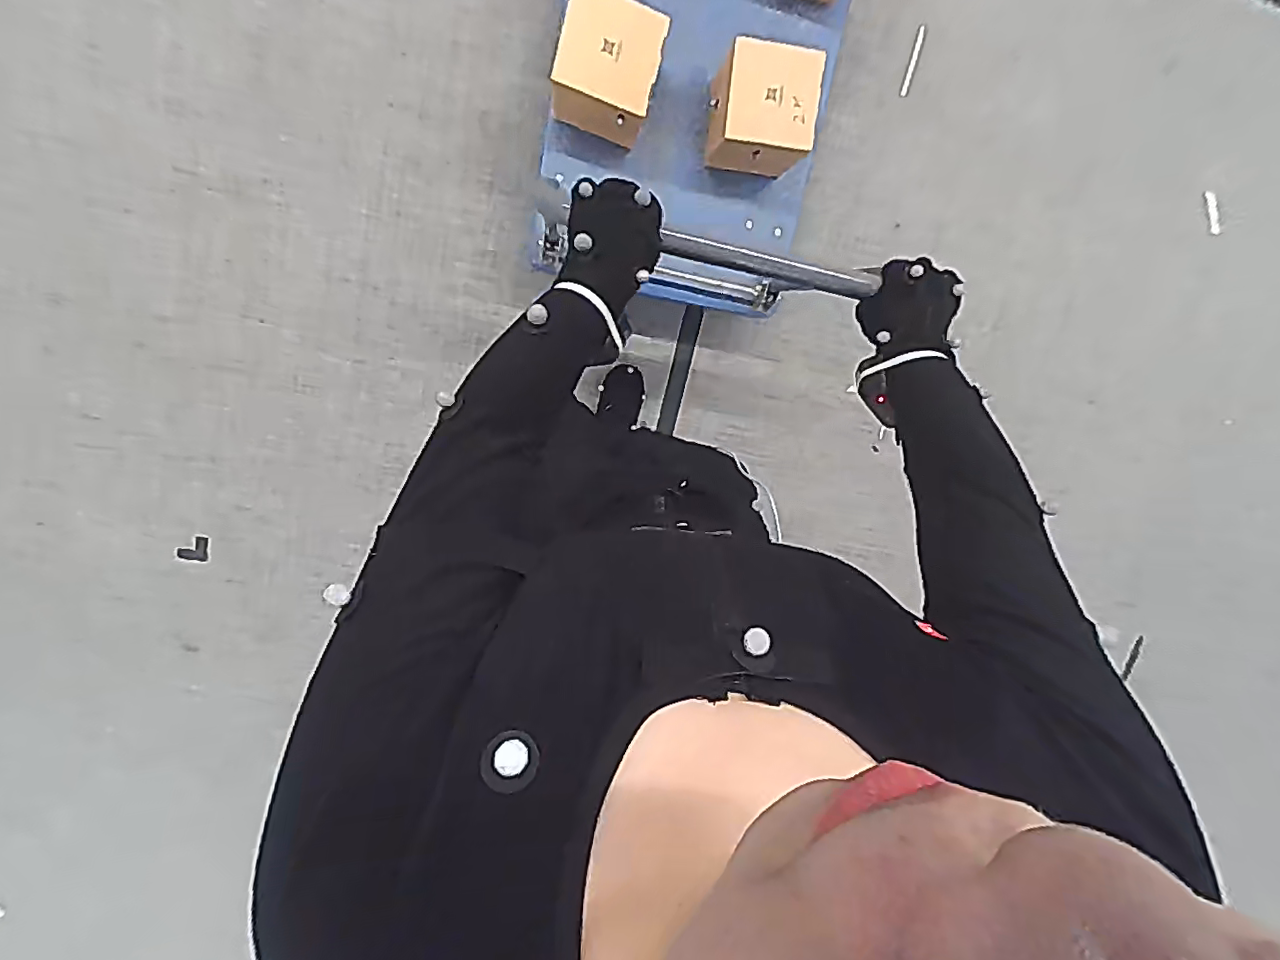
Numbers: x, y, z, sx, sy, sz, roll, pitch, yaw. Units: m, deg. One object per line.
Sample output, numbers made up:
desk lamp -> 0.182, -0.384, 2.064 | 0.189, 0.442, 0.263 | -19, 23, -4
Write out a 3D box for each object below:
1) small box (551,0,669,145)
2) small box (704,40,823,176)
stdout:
small box -> -0.065, -0.770, 1.023 | 0.179, 0.176, 0.168 | 14, 102, -13
small box -> 0.234, -0.726, 1.077 | 0.179, 0.176, 0.168 | 3, 104, -9
